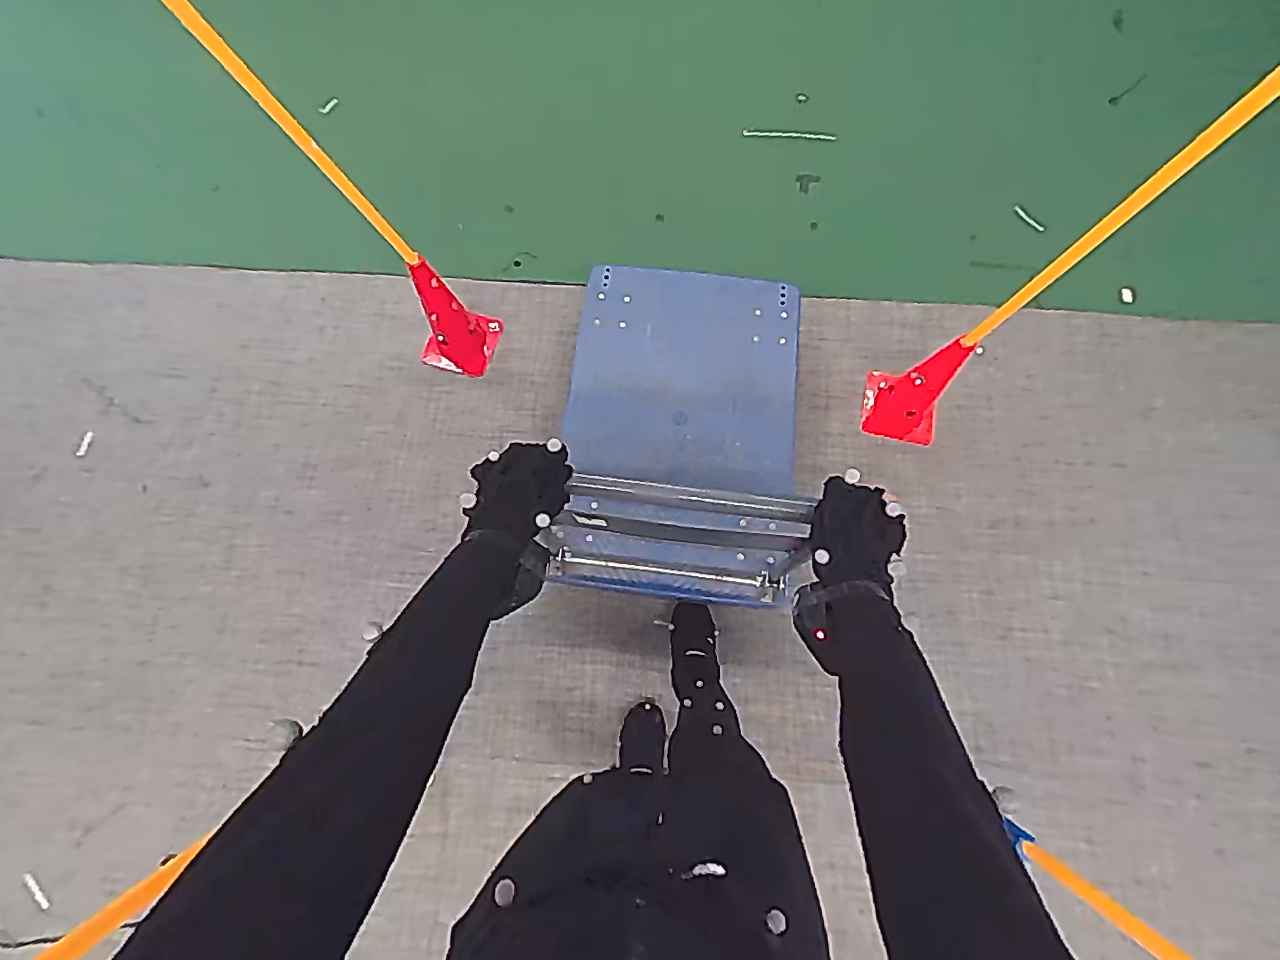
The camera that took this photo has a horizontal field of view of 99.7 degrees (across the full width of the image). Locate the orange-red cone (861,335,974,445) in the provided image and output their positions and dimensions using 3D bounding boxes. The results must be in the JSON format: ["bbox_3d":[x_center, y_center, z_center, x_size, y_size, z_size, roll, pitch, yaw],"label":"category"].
[{"bbox_3d":[0.737,-0.256,1.380,0.198,0.360,0.199,14,74,5],"label":"orange-red cone"}]
